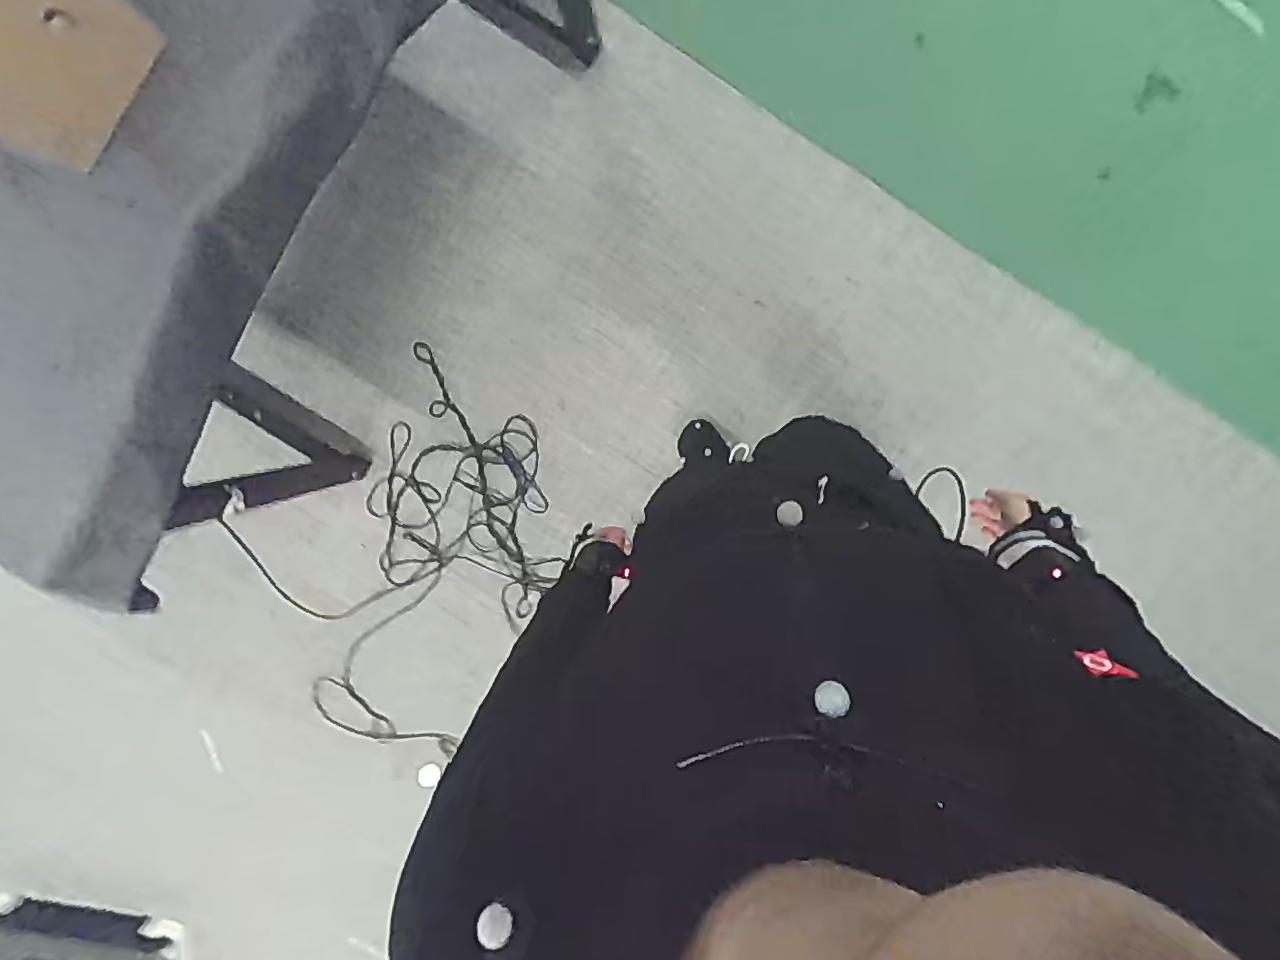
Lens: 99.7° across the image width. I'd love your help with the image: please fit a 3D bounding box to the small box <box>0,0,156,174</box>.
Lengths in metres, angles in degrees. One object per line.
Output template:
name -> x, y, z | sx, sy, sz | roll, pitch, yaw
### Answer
small box -> -0.623, -0.440, 0.509 | 0.168, 0.176, 0.179 | 41, 100, -1
